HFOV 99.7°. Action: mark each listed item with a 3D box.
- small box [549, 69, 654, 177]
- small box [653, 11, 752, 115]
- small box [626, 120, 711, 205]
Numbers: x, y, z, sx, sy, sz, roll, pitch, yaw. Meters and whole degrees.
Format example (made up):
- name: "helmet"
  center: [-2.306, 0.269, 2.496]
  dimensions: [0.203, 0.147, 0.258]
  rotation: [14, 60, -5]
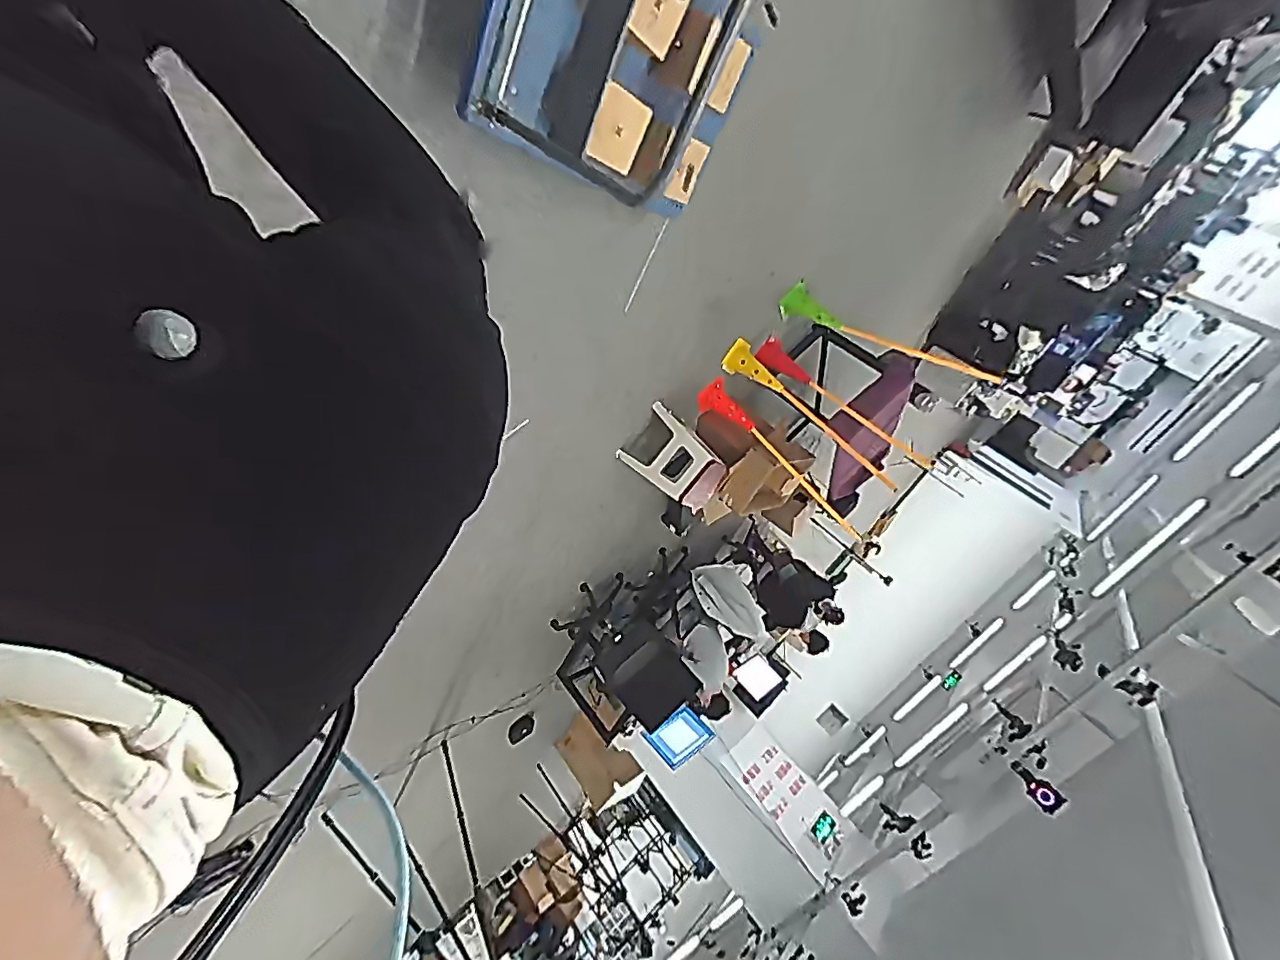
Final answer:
- name: "small box"
  center: [-0.104, -0.932, 1.411]
  dimensions: [0.179, 0.176, 0.168]
  rotation: [-6, 132, -50]
- name: "small box"
  center: [0.167, -1.150, 1.489]
  dimensions: [0.179, 0.176, 0.168]
  rotation: [-11, 137, -47]
- name: "small box"
  center: [0.072, -0.953, 1.615]
  dimensions: [0.179, 0.176, 0.168]
  rotation: [-10, 135, -46]
